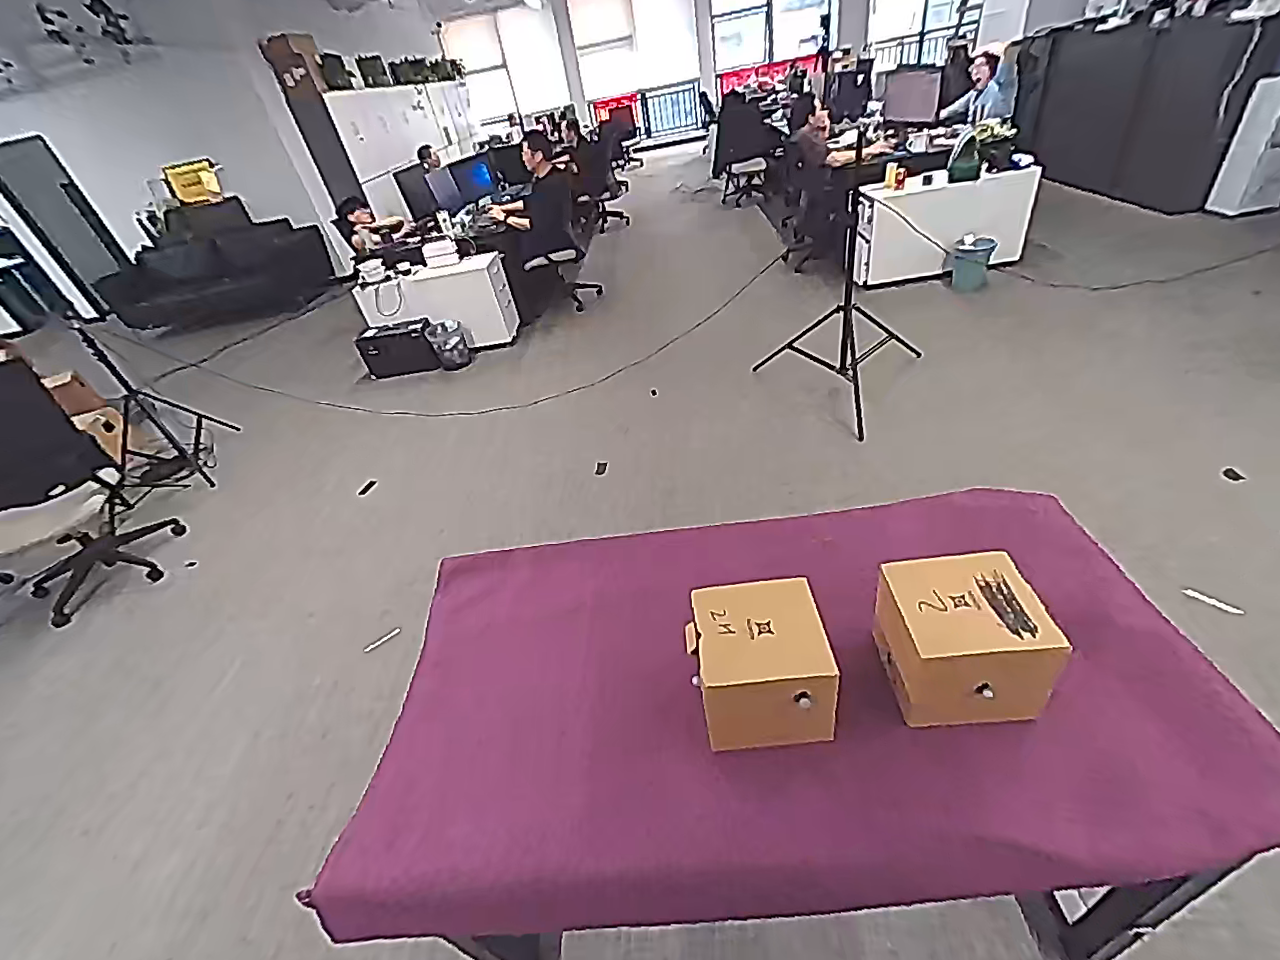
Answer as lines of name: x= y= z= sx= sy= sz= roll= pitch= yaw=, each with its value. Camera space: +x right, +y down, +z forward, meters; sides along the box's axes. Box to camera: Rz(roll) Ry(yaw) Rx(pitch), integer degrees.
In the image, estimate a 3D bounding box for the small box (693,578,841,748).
small box: x=0.179 y=0.269 z=0.794 sx=0.179 sy=0.176 sz=0.168 roll=-9 pitch=36 yaw=5
